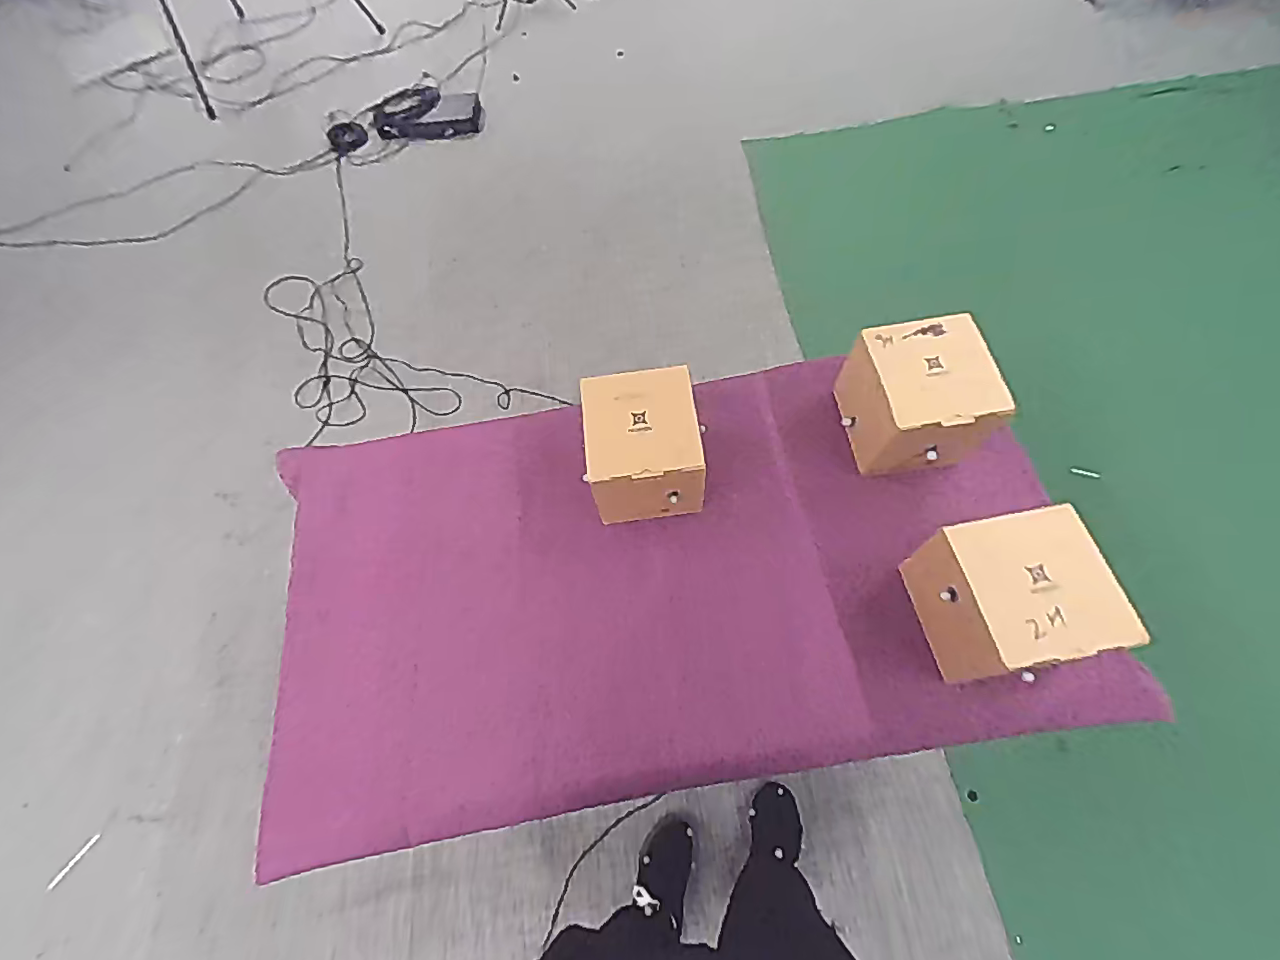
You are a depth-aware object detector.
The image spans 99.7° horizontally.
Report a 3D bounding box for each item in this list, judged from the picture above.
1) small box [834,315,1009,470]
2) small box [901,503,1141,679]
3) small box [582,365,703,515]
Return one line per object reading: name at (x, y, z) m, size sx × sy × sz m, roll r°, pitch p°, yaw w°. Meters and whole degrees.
small box at (0.426, -0.127, 0.852) m, size 0.168 × 0.176 × 0.179 m, roll -9°, pitch 67°, yaw 0°
small box at (0.476, 0.153, 0.714) m, size 0.168 × 0.176 × 0.179 m, roll -10°, pitch 64°, yaw 1°
small box at (0.005, -0.053, 0.851) m, size 0.168 × 0.176 × 0.179 m, roll -7°, pitch 65°, yaw 0°
